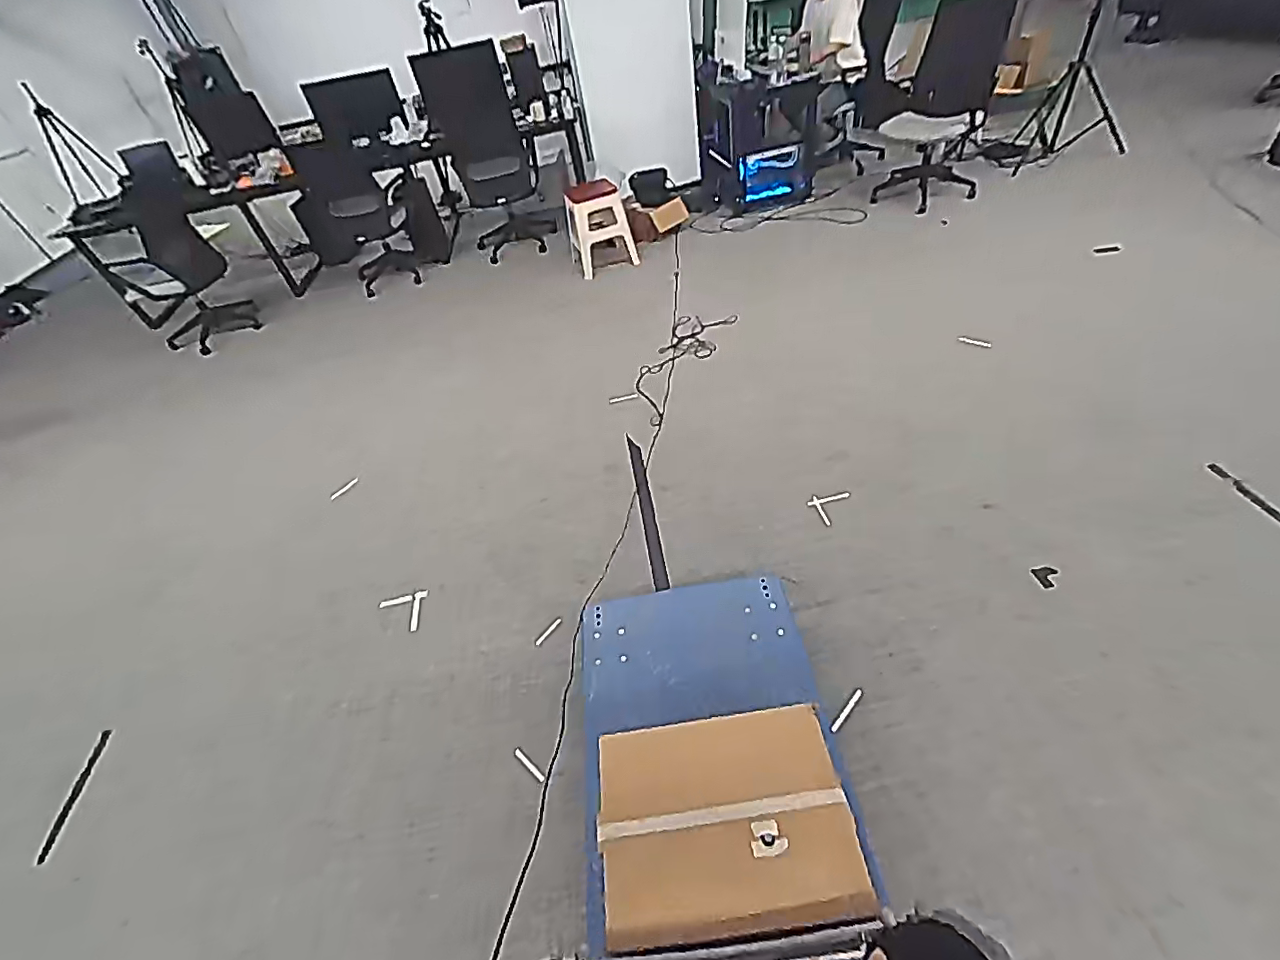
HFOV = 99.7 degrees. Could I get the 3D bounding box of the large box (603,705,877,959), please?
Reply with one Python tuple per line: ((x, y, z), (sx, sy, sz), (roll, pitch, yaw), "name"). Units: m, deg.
((0.162, 0.667, 1.010), (0.408, 0.320, 0.320), (-10, 45, 2), "large box")
